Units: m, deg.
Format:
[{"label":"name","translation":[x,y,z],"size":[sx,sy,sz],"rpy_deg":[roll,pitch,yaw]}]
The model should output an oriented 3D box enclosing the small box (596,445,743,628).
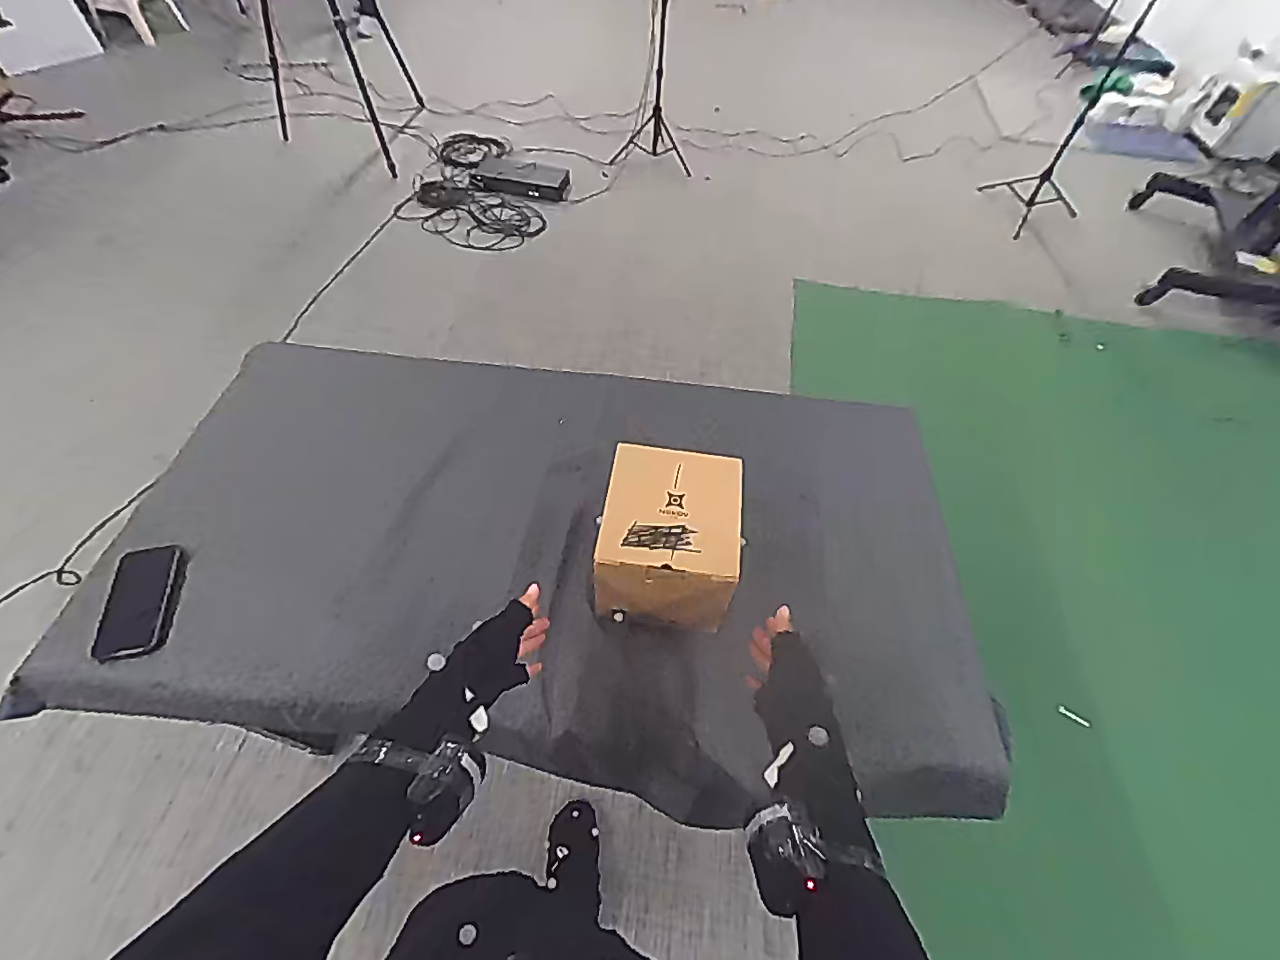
[{"label":"small box","translation":[0.038,0.081,0.724],"size":[0.168,0.176,0.179],"rpy_deg":[8,53,2]}]
